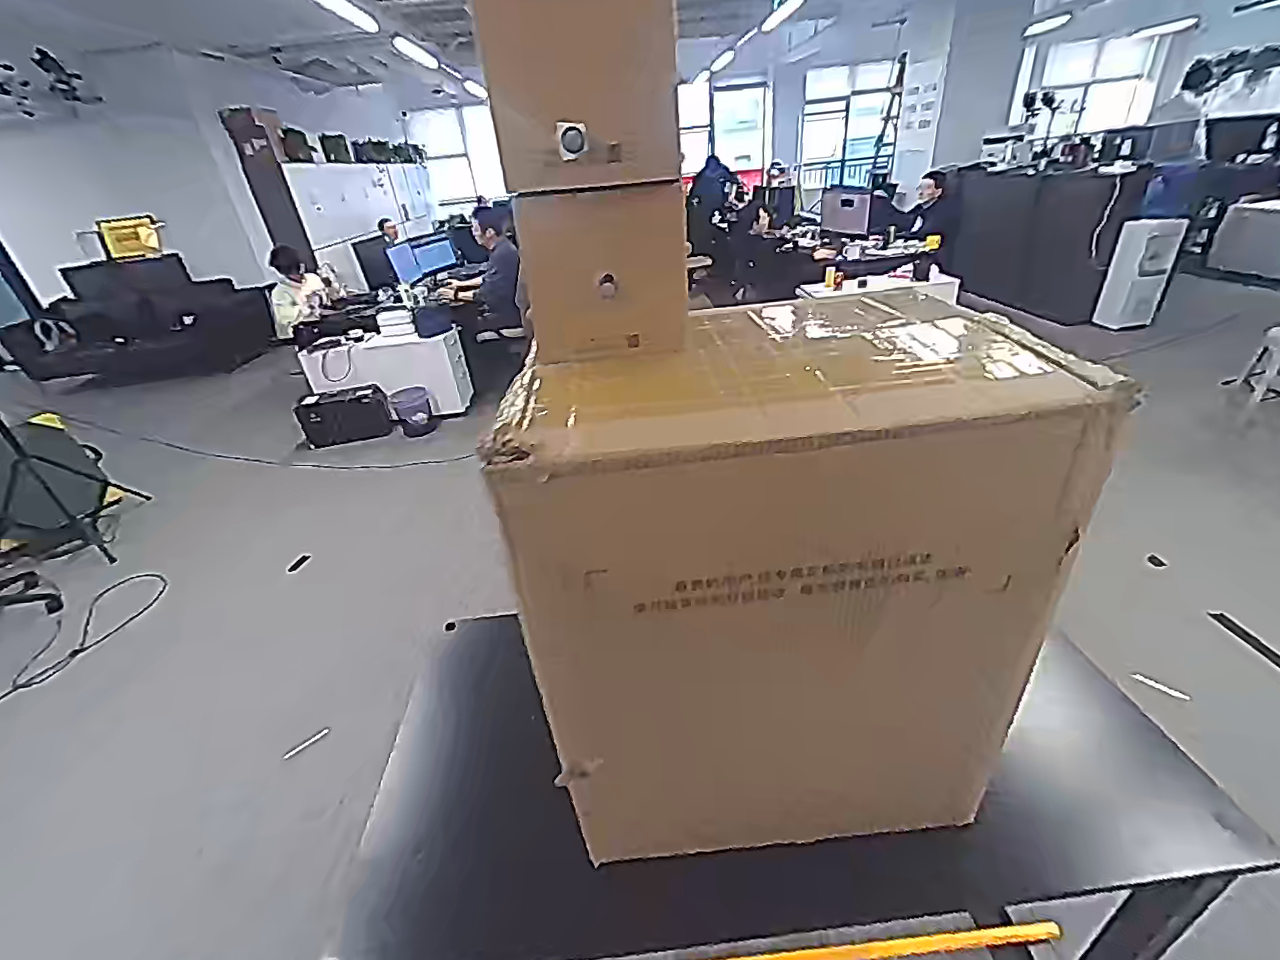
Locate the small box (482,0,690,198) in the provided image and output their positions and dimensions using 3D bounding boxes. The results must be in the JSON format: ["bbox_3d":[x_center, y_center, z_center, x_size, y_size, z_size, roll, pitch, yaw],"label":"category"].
[{"bbox_3d":[-0.043,-0.374,0.522,0.168,0.176,0.179,-6,30,2],"label":"small box"}]

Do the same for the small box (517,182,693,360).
[{"bbox_3d":[-0.033,-0.240,0.617,0.168,0.176,0.179,-5,30,-1],"label":"small box"}]
